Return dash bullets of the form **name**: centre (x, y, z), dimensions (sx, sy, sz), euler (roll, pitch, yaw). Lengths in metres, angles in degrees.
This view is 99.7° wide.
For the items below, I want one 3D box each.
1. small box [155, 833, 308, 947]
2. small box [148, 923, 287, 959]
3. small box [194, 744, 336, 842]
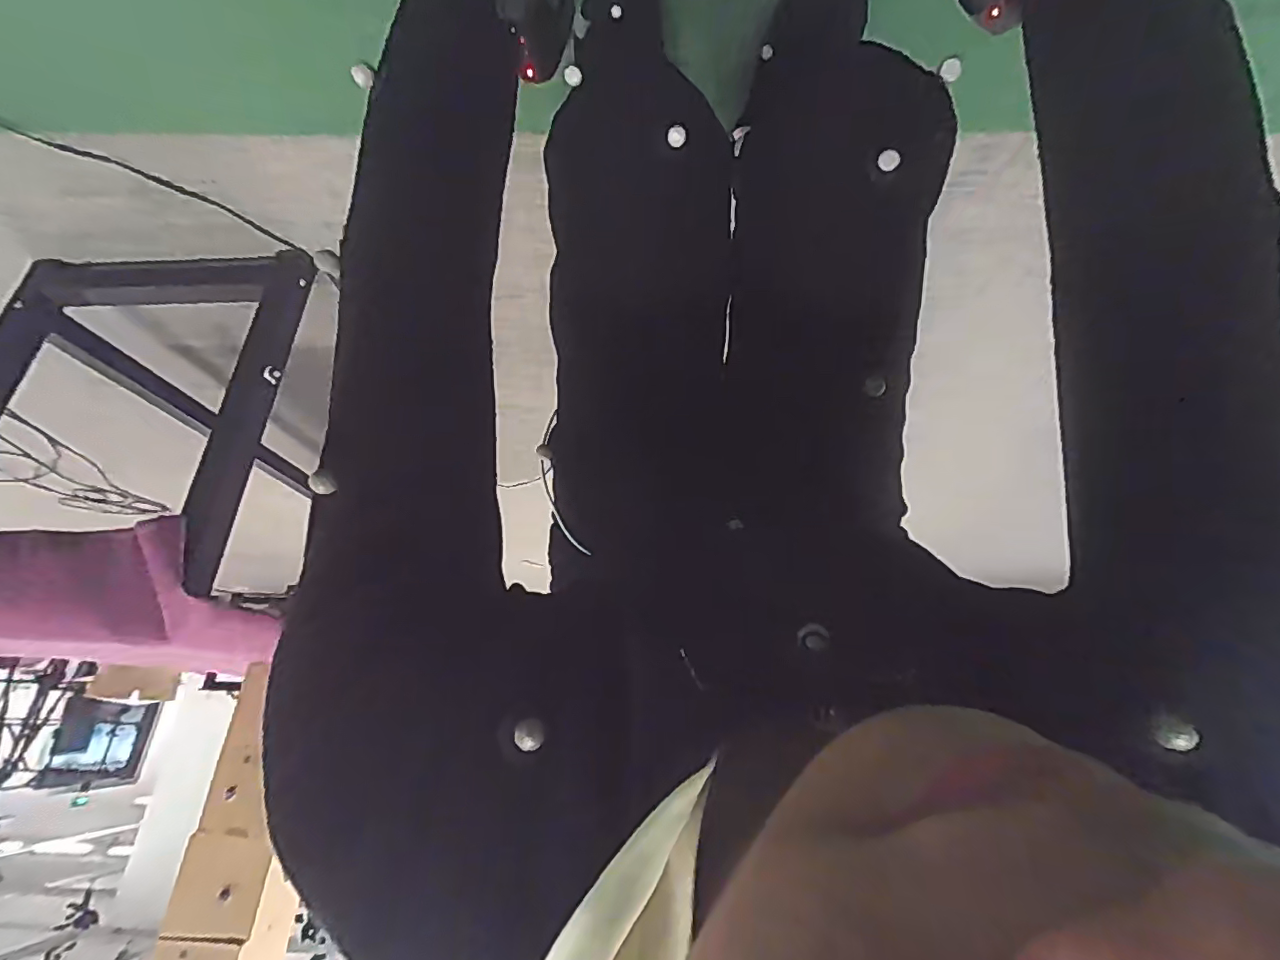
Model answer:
- **small box**: centre (-0.812, 0.815, 1.102), dimensions (0.179, 0.176, 0.168), euler (3, 155, -1)
- **small box**: centre (-0.822, 0.964, 1.033), dimensions (0.168, 0.176, 0.179), euler (3, 154, 1)
- **small box**: centre (-0.797, 0.668, 1.170), dimensions (0.168, 0.176, 0.179), euler (4, 155, -1)
